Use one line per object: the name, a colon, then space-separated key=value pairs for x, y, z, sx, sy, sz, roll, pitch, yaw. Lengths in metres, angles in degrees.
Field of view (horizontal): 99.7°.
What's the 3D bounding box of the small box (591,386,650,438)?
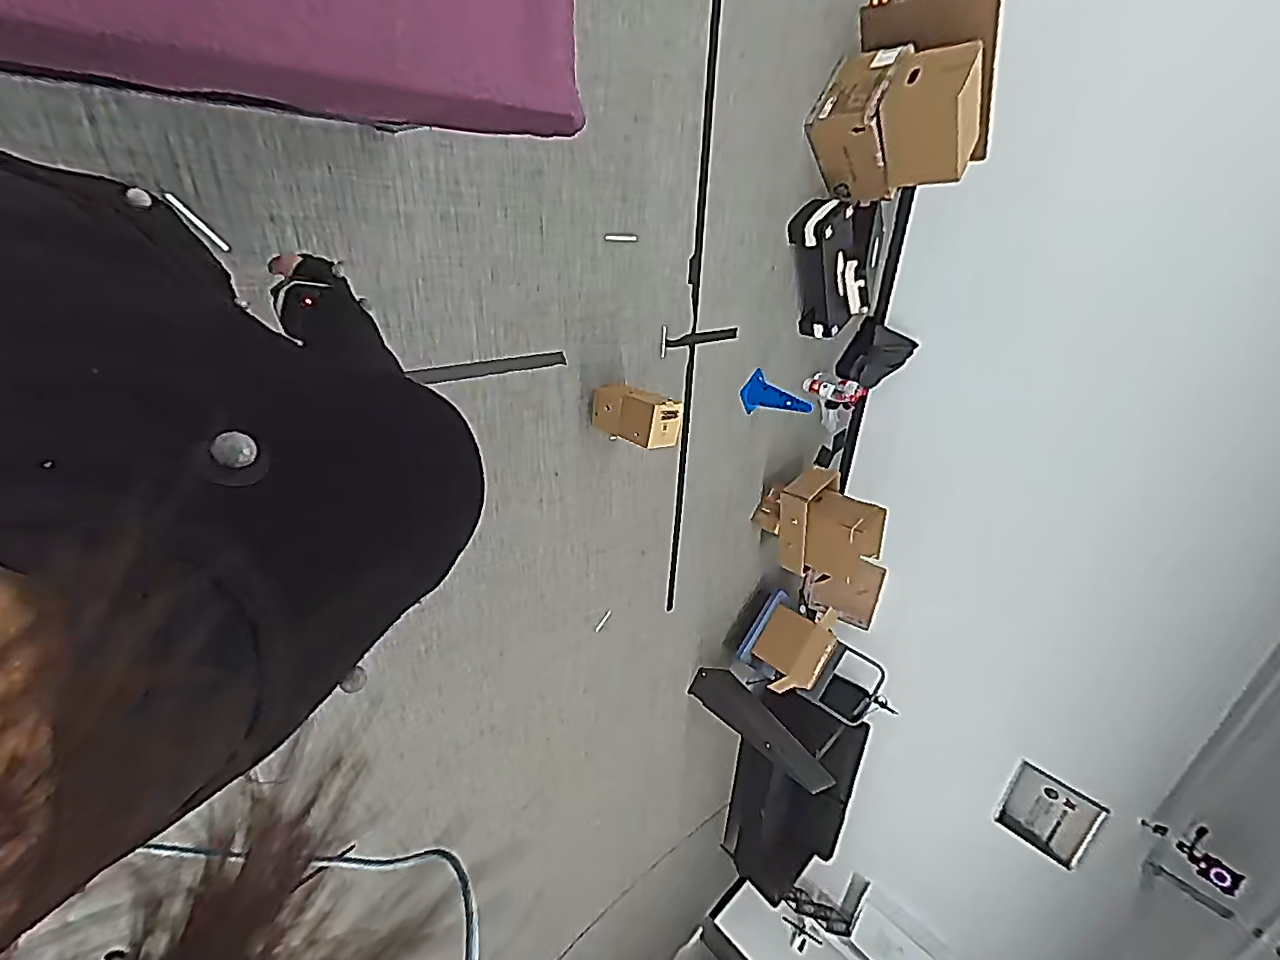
small box: x=-0.083 y=-0.284 z=2.217 sx=0.179 sy=0.176 sz=0.168 roll=-17 pitch=122 yaw=-42
